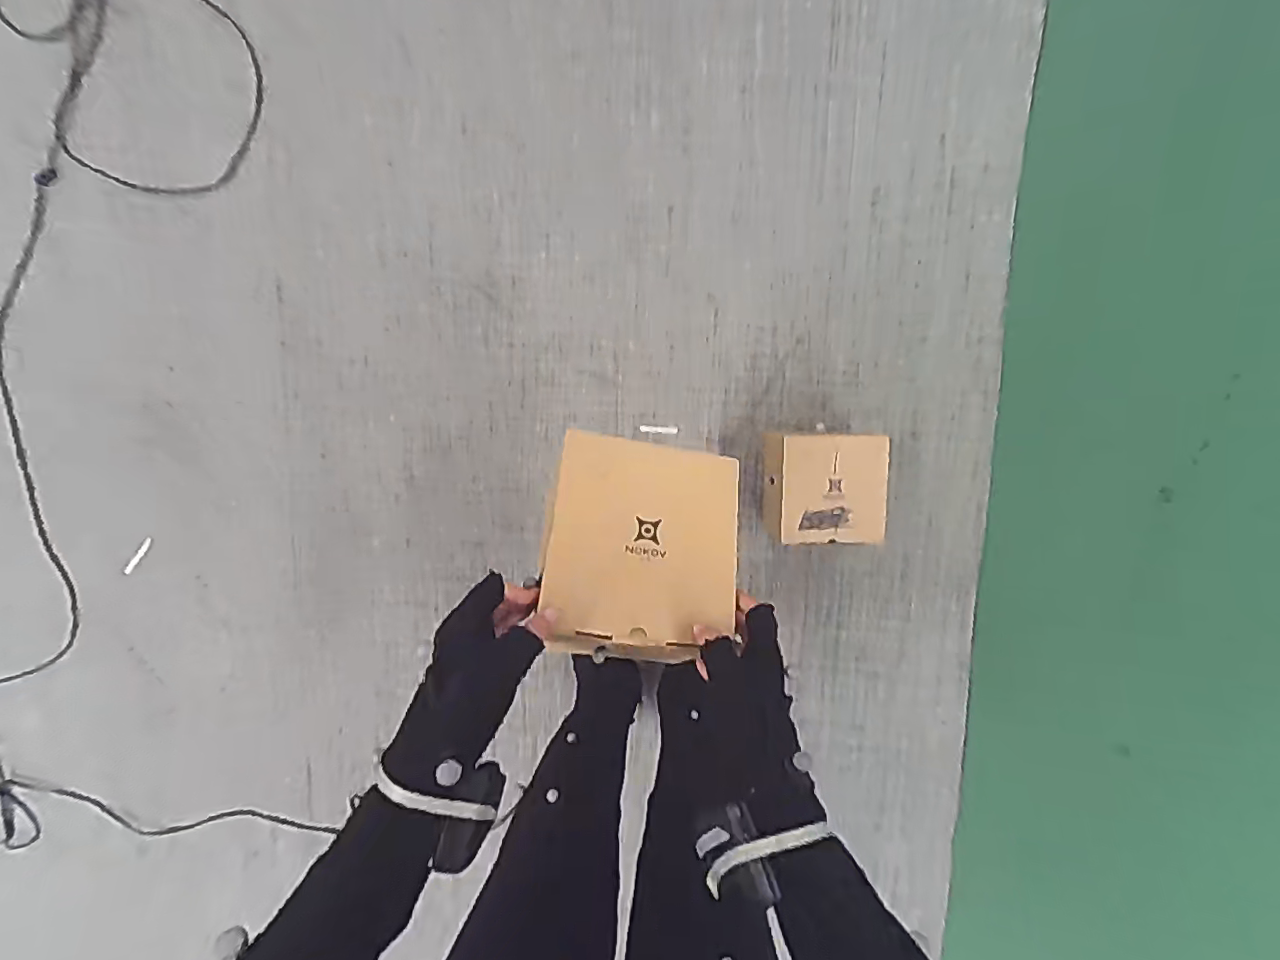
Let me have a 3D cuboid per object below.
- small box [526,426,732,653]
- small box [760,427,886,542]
[{"bbox_3d":[-0.018,0.071,0.540,0.168,0.176,0.179,10,69,-11],"label":"small box"},{"bbox_3d":[0.304,0.001,0.928,0.168,0.176,0.179,0,97,3],"label":"small box"}]
